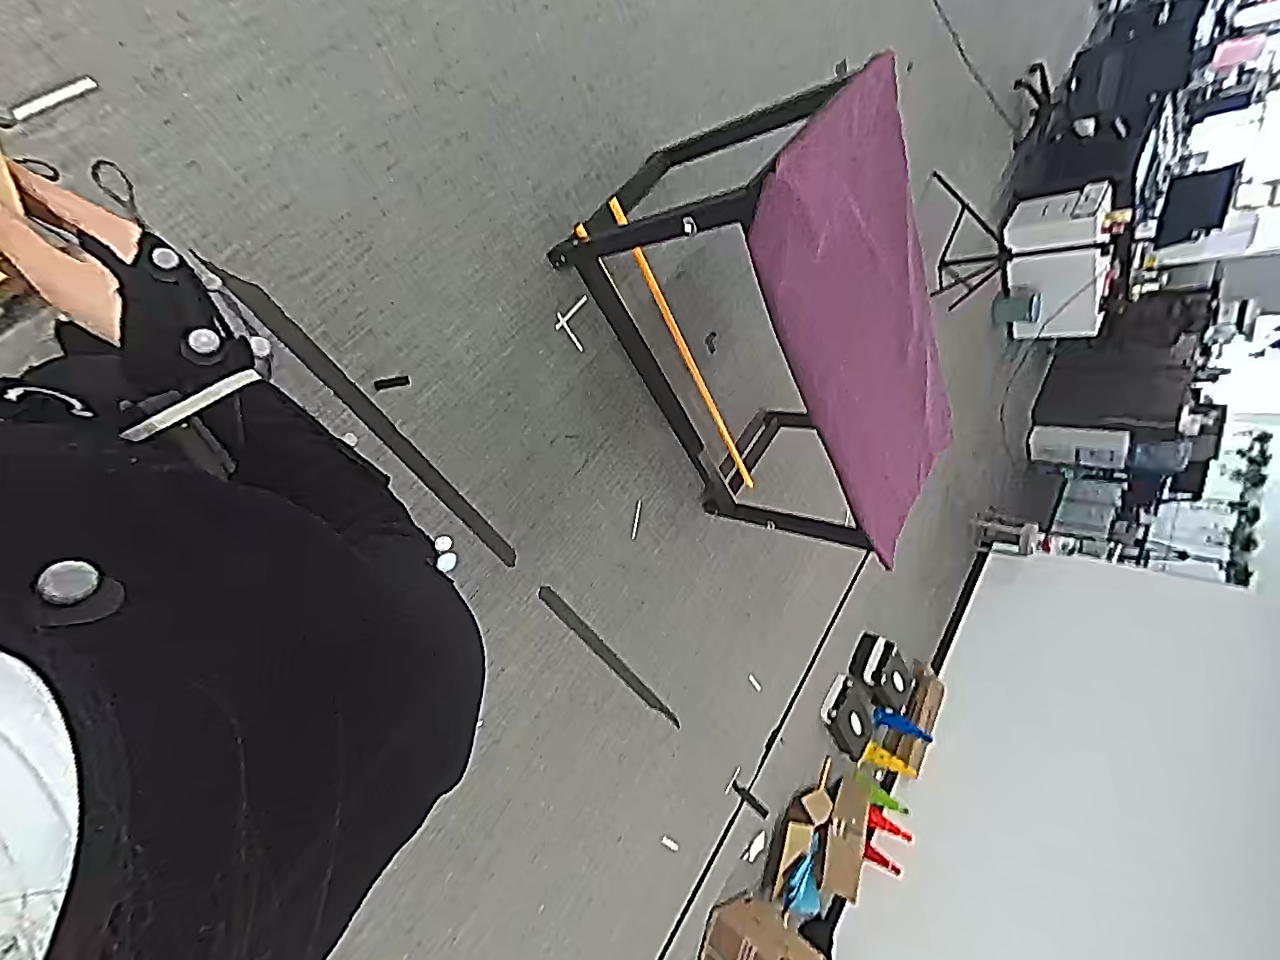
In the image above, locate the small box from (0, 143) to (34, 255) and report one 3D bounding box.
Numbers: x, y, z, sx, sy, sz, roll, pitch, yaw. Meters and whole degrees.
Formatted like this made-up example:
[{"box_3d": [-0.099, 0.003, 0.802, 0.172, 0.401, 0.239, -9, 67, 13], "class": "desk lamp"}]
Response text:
[{"box_3d": [-0.454, -0.209, 0.271, 0.168, 0.176, 0.179, -22, 120, -45], "class": "small box"}]
